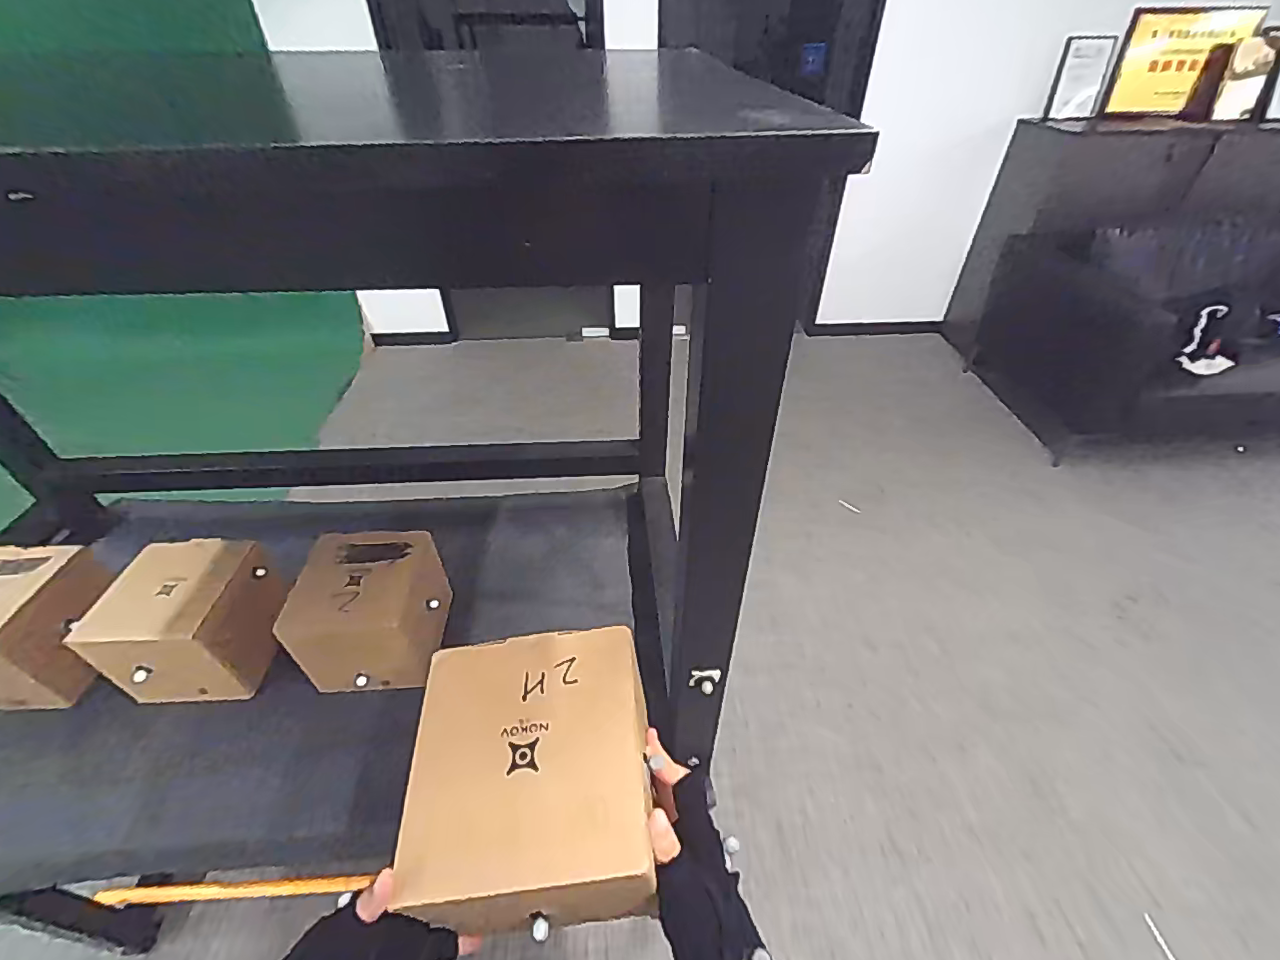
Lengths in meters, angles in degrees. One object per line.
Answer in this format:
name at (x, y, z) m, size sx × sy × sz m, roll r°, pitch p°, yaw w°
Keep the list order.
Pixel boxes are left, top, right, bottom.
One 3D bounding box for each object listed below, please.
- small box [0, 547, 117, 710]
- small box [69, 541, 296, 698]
small box at (-0.914, 0.219, 0.804) m, size 0.168 × 0.176 × 0.179 m, roll -1°, pitch 42°, yaw -2°
small box at (-0.661, 0.213, 0.816) m, size 0.168 × 0.176 × 0.179 m, roll -1°, pitch 41°, yaw -2°
